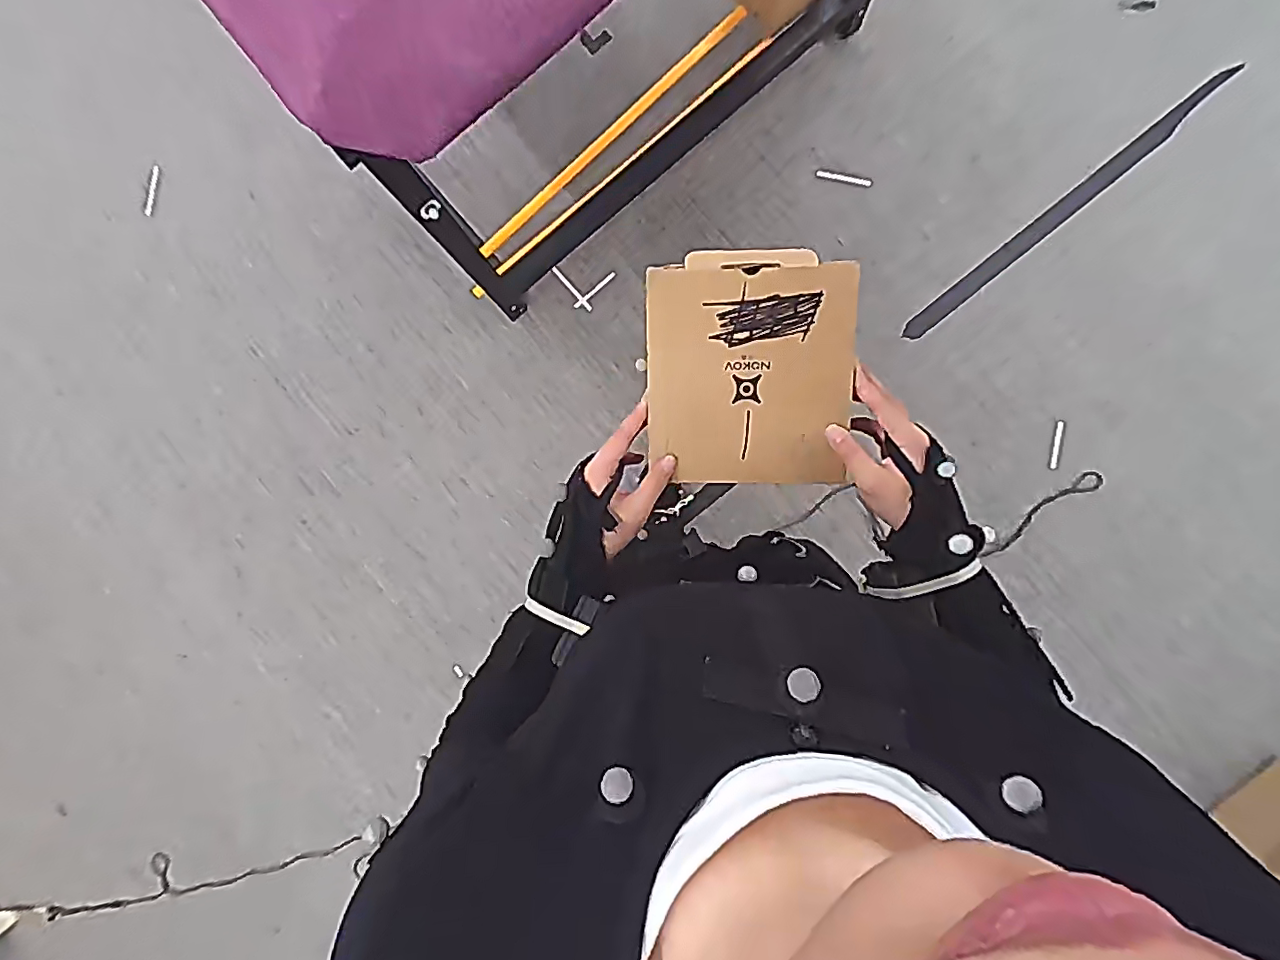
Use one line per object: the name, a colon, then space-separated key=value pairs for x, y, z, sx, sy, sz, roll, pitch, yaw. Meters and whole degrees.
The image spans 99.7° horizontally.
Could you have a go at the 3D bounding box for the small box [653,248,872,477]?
small box: x=0.099 y=-0.105 z=0.504 sx=0.168 sy=0.176 sz=0.179 roll=1 pitch=102 yaw=5
